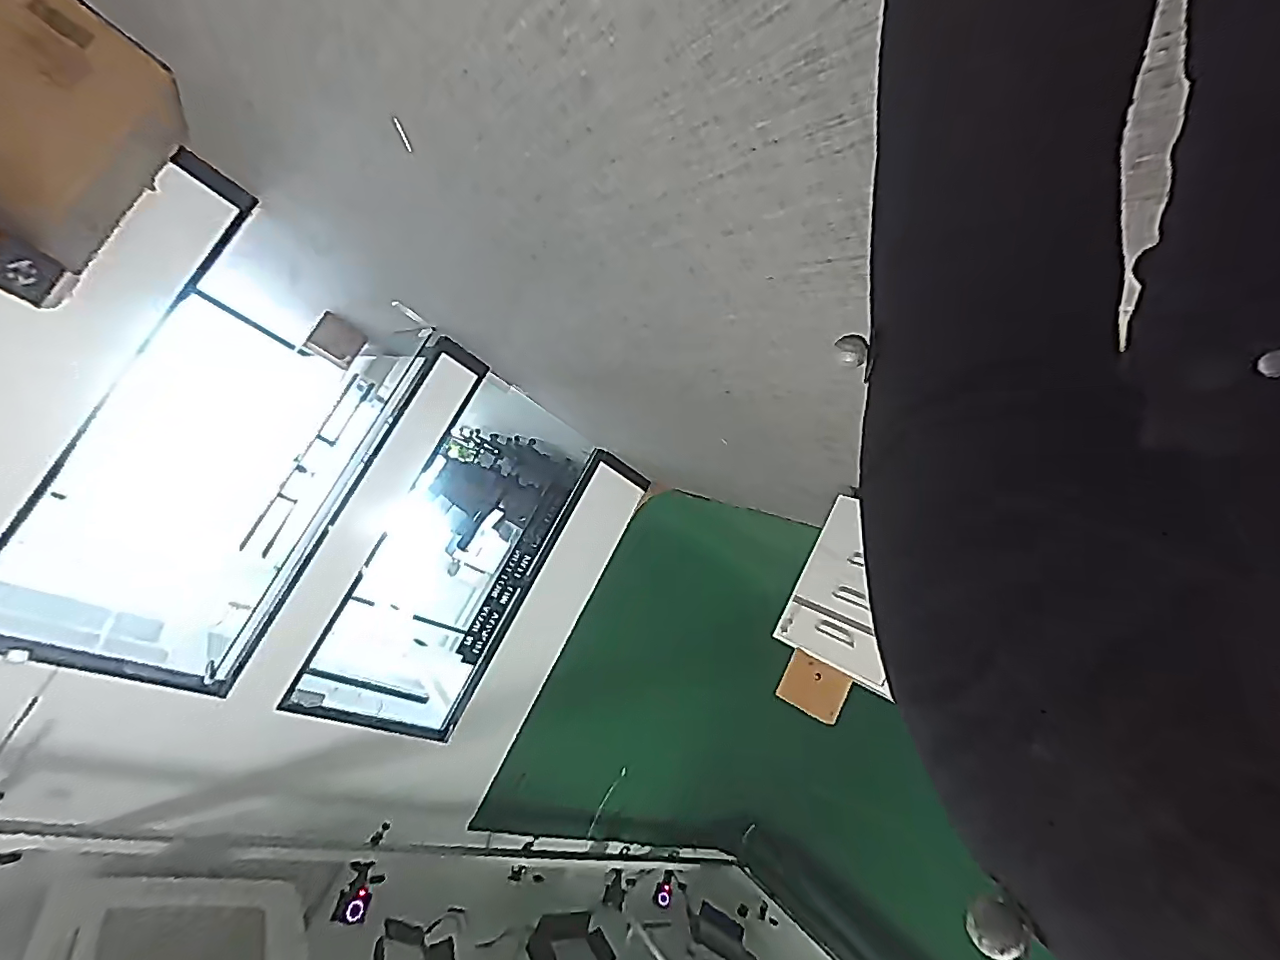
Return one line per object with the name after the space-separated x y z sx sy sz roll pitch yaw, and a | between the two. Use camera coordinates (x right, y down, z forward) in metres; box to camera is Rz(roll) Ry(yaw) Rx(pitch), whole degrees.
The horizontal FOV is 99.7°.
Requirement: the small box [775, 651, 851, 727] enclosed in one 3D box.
0.569 0.679 1.760 0.168 0.176 0.179 21 168 36 | small box
